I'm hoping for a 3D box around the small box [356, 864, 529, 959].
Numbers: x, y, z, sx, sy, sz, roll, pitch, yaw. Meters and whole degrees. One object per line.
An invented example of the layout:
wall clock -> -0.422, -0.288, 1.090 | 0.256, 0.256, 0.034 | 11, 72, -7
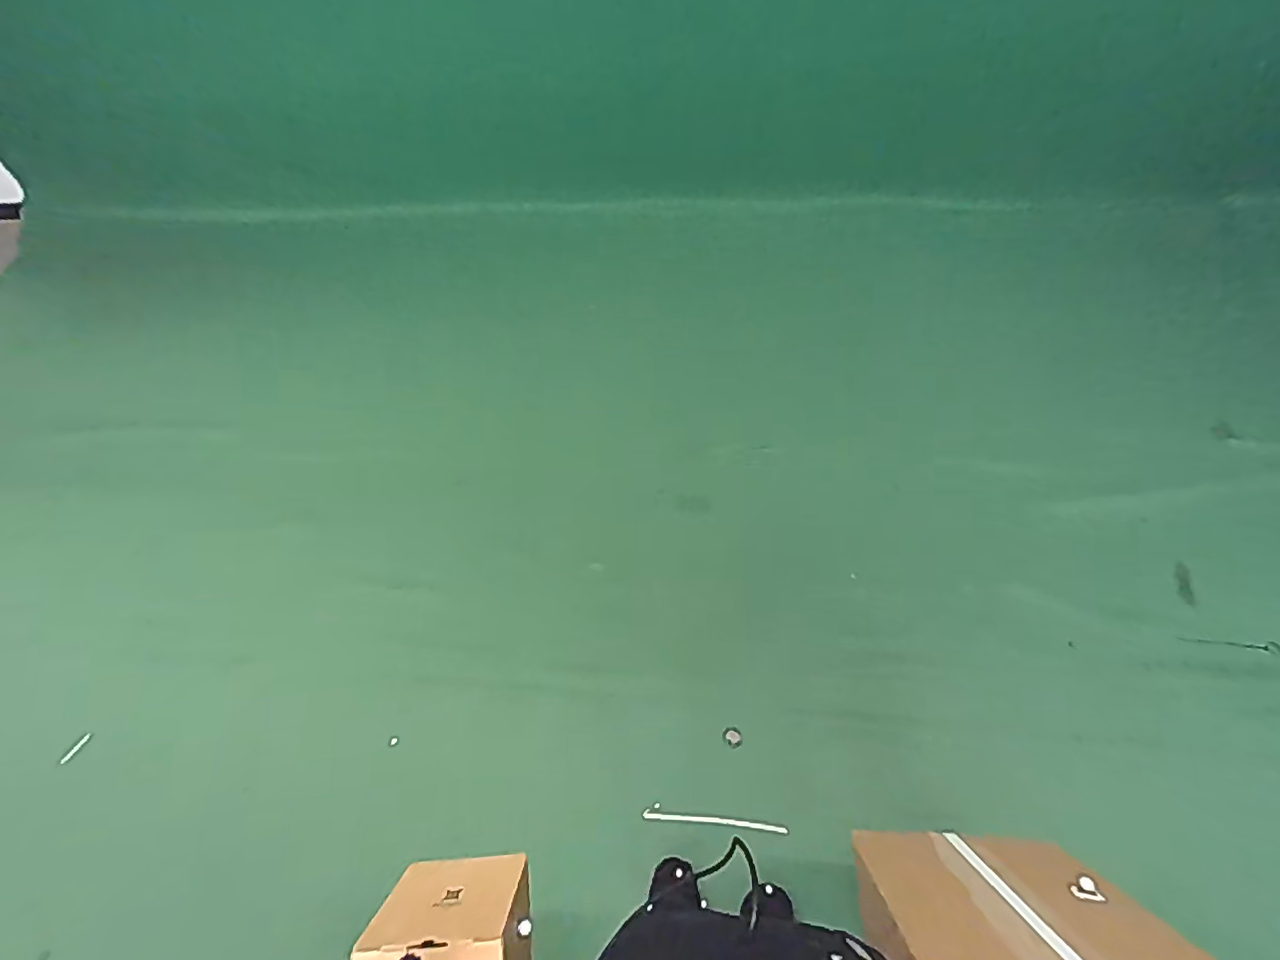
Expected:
small box -> -0.233, 0.616, 0.668 | 0.168, 0.179, 0.176 | -3, 81, -3
